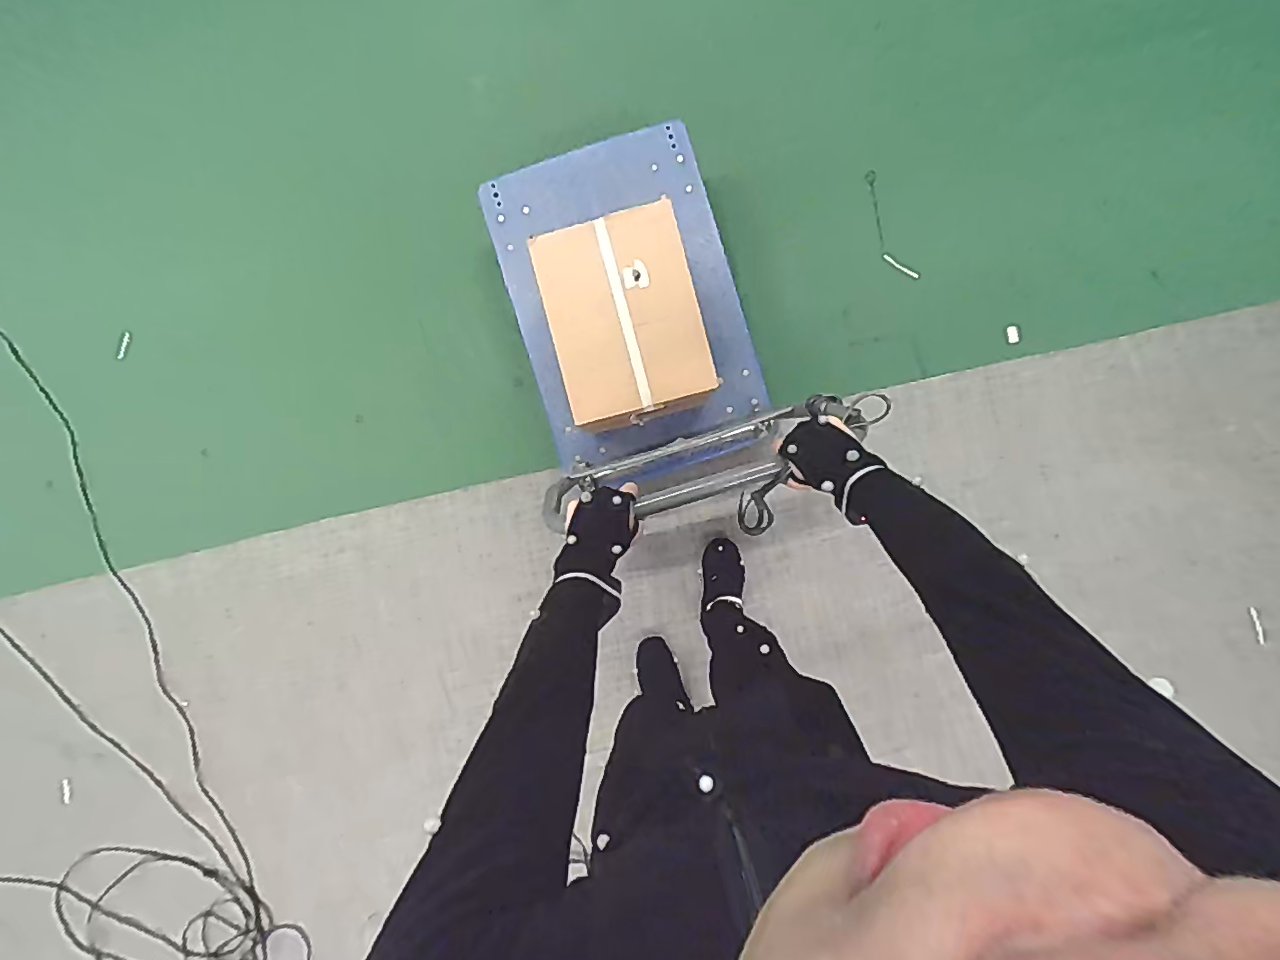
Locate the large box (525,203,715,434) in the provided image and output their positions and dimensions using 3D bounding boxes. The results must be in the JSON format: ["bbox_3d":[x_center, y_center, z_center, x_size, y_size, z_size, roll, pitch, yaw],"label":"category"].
[{"bbox_3d":[-0.037,-0.347,1.272,0.320,0.320,0.408,-15,91,1],"label":"large box"}]
